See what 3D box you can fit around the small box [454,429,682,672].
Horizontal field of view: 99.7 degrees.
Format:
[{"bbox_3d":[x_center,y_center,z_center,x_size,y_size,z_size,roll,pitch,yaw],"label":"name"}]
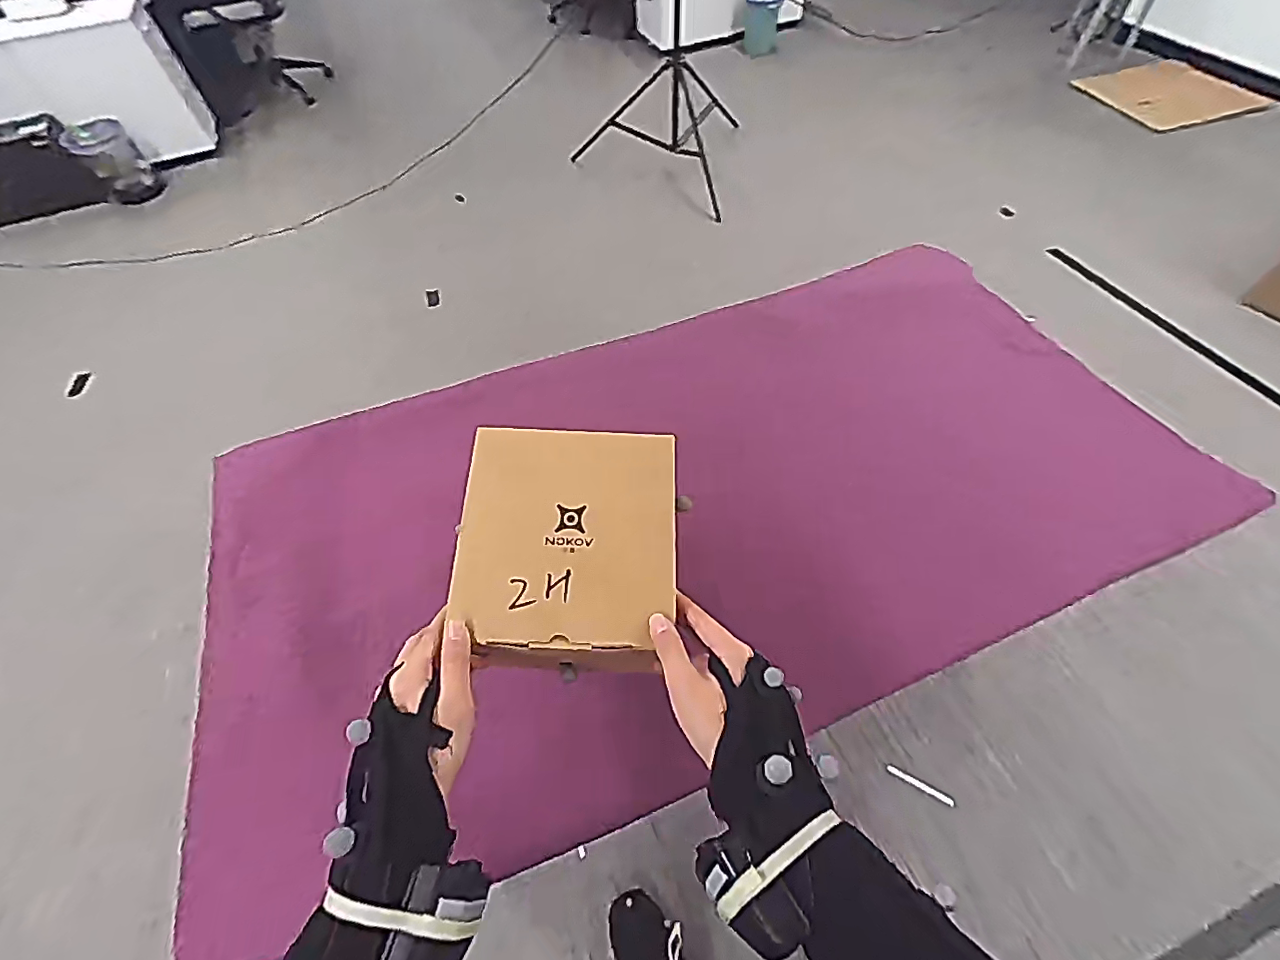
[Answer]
[{"bbox_3d":[-0.053,0.072,0.493,0.168,0.176,0.179,2,65,-2],"label":"small box"}]
